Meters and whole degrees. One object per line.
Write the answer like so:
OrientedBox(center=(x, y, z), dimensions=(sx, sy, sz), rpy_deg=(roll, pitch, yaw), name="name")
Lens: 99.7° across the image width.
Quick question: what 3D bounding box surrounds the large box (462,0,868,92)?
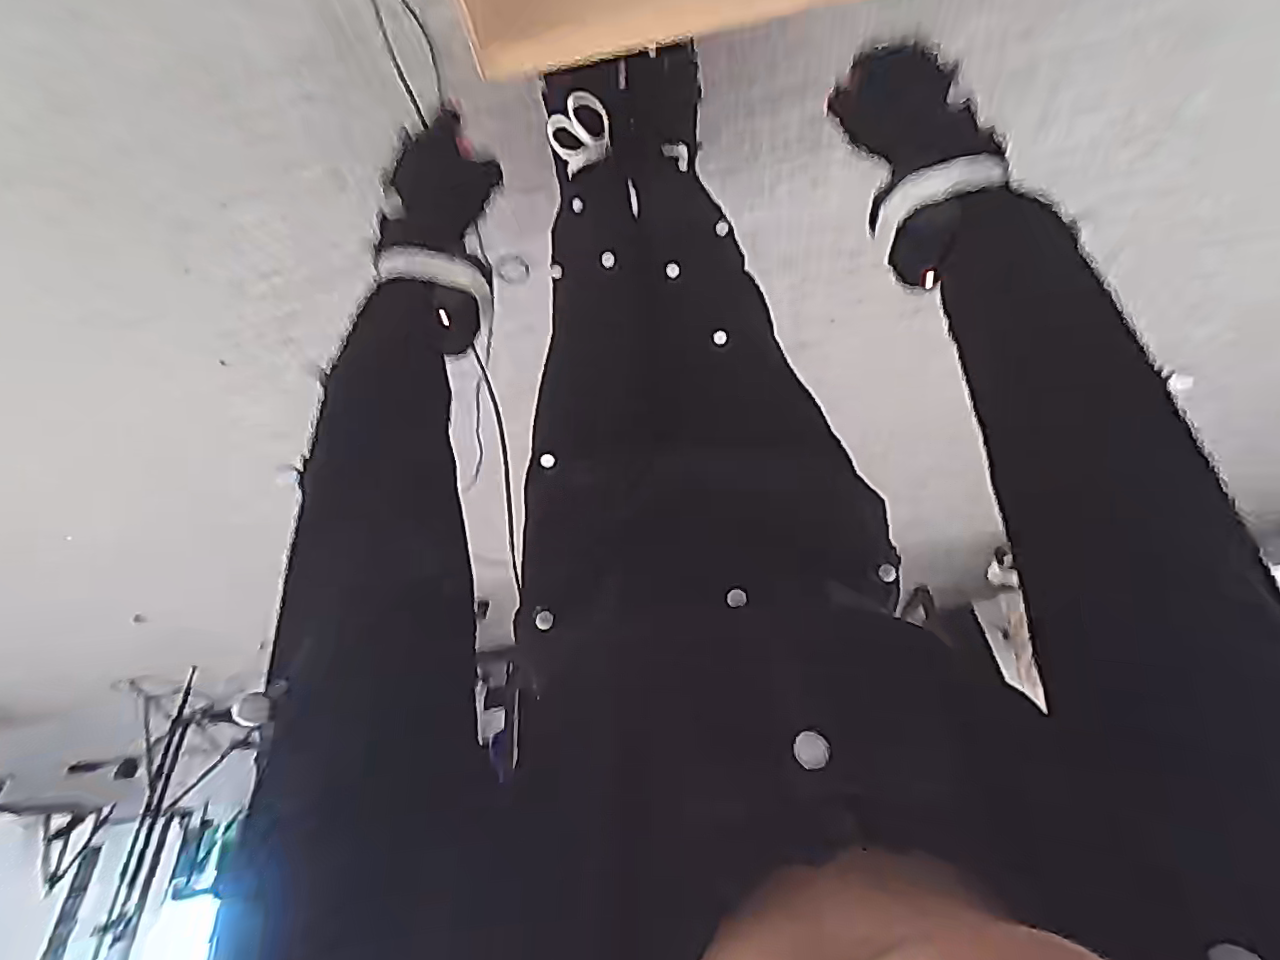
OrientedBox(center=(0.007, -0.623, 0.479), dimensions=(0.408, 0.320, 0.320), rpy_deg=(-10, 147, 5), name="large box")
